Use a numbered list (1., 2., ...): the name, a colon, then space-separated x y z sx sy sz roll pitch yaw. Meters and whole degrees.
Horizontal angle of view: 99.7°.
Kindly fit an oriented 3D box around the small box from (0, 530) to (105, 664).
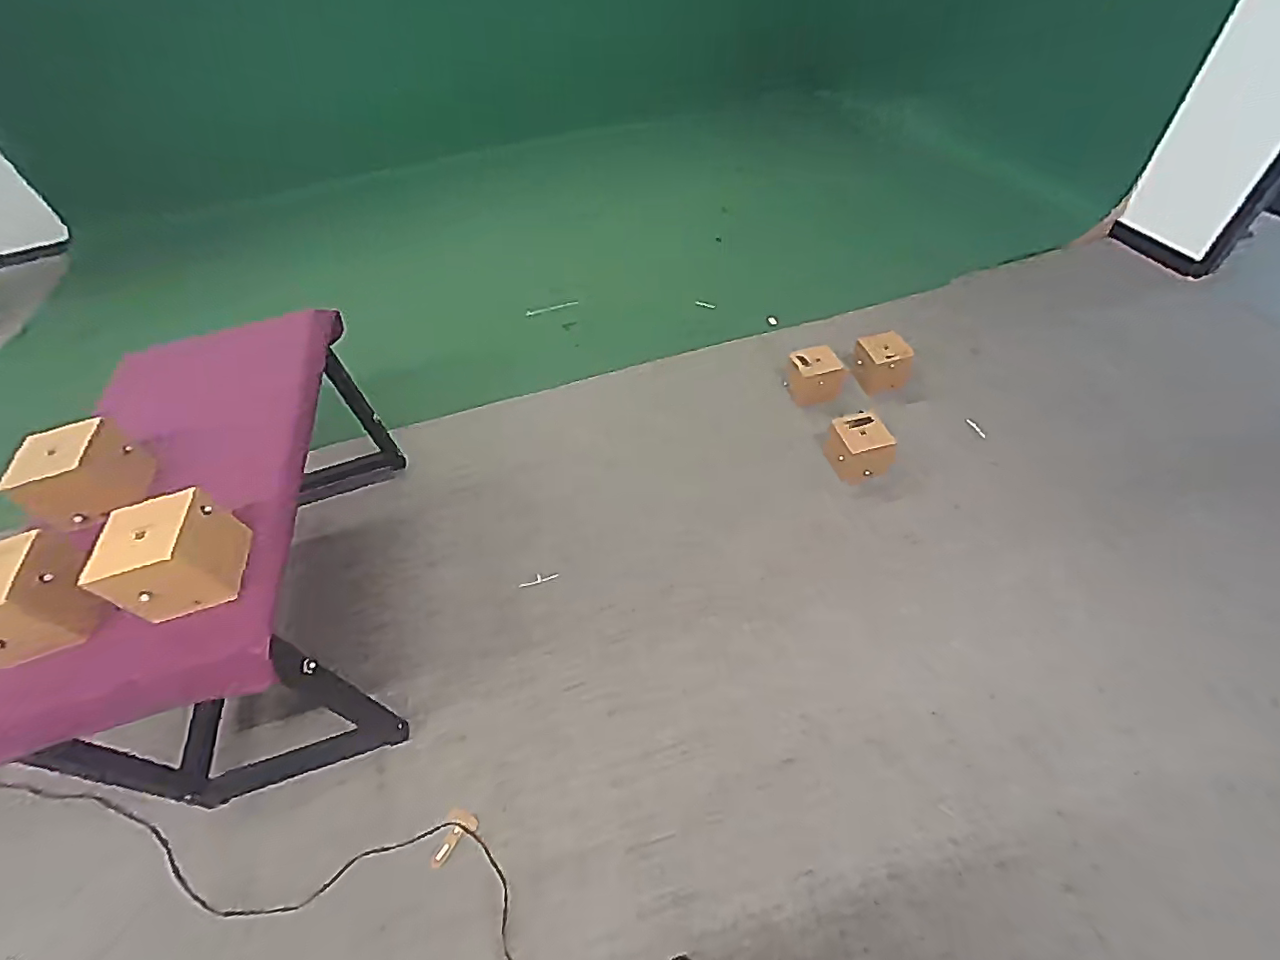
1. small box: -1.189 0.233 1.040 0.168 0.176 0.179 -19 50 -7

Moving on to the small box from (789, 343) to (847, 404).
1. small box: 0.726 -0.435 2.232 0.179 0.176 0.168 -15 51 -4

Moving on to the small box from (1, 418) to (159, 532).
1. small box: -1.282 -0.009 1.257 0.168 0.176 0.179 -18 51 -5

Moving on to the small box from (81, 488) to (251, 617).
1. small box: -0.911 0.151 1.064 0.168 0.176 0.179 -17 49 -3

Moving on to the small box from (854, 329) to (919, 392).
1. small box: 1.010 -0.492 2.236 0.168 0.176 0.179 -13 49 -2
